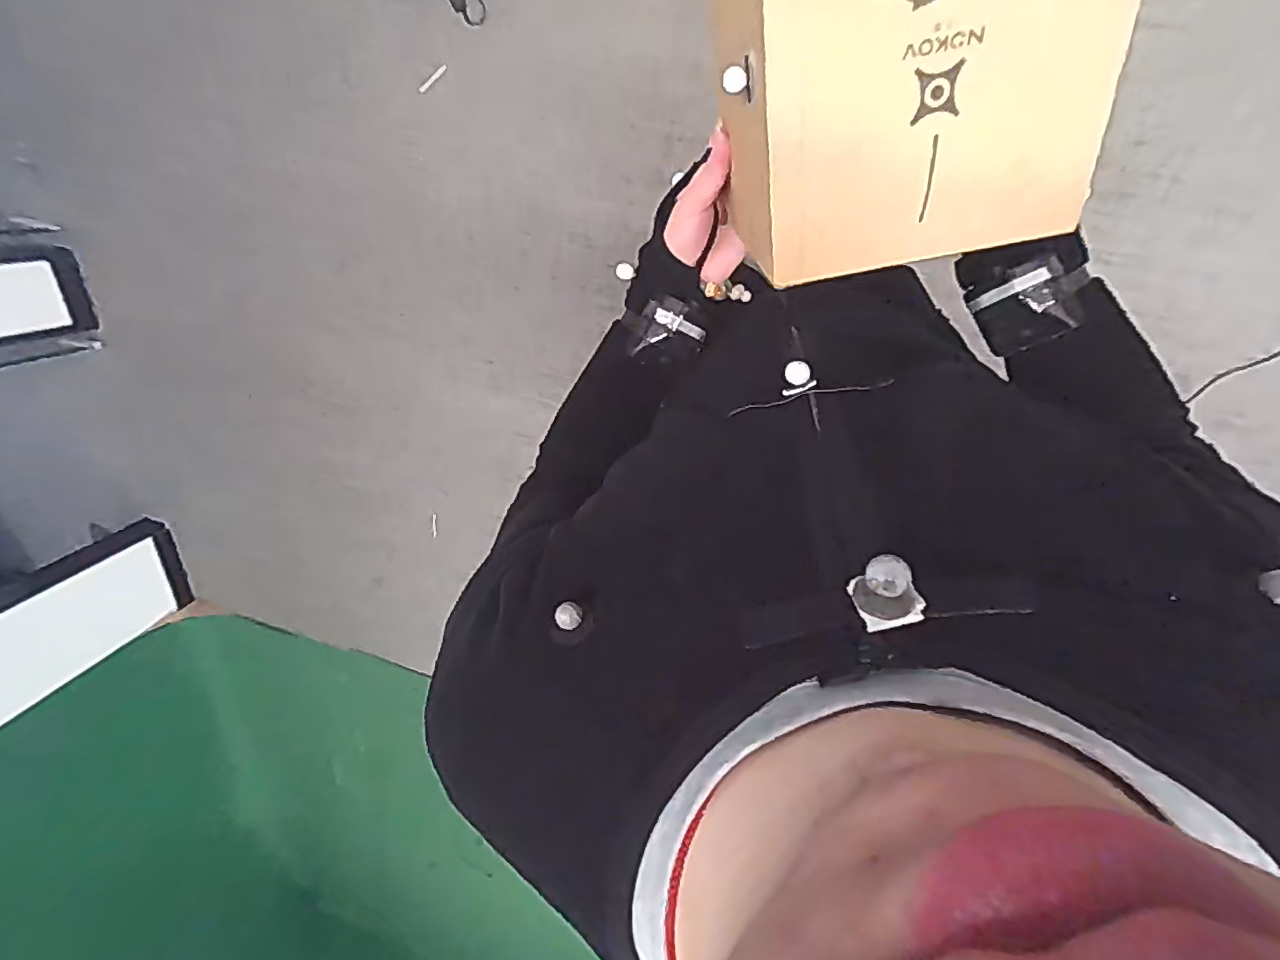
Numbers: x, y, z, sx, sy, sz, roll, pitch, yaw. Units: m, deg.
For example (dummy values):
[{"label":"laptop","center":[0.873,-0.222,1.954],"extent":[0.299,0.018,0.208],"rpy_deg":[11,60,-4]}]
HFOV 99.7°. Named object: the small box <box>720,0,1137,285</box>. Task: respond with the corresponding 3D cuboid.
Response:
[{"label":"small box","center":[0.143,-0.240,0.322],"extent":[0.168,0.176,0.179],"rpy_deg":[-8,127,6]}]
